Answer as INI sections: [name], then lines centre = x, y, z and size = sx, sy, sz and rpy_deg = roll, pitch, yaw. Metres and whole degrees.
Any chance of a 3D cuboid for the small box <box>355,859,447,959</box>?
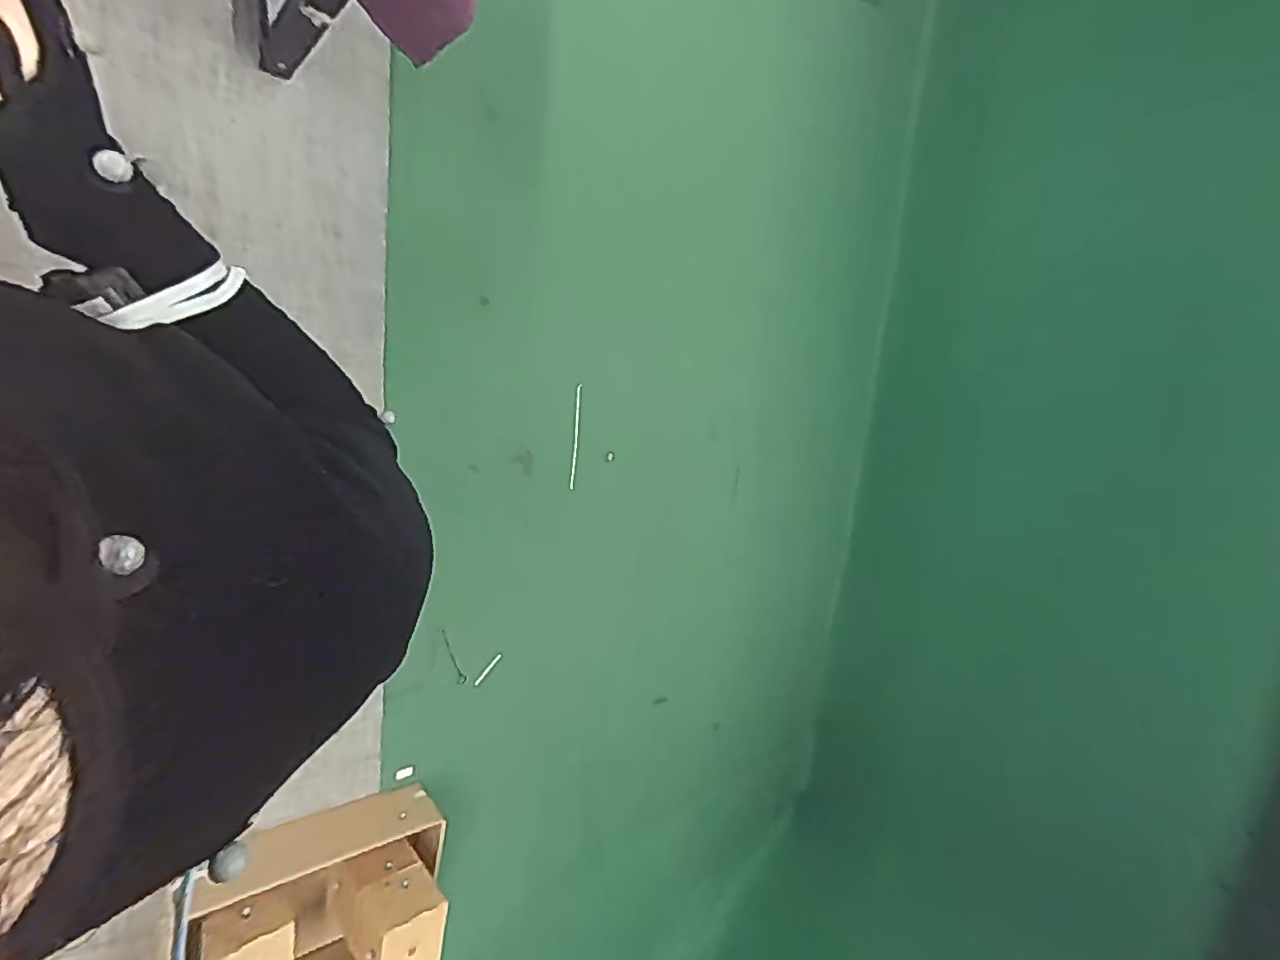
[small box]
centre = -0.635, 1.164, 1.430
size = 0.168, 0.176, 0.179
rpy_deg = 6, 94, -46
